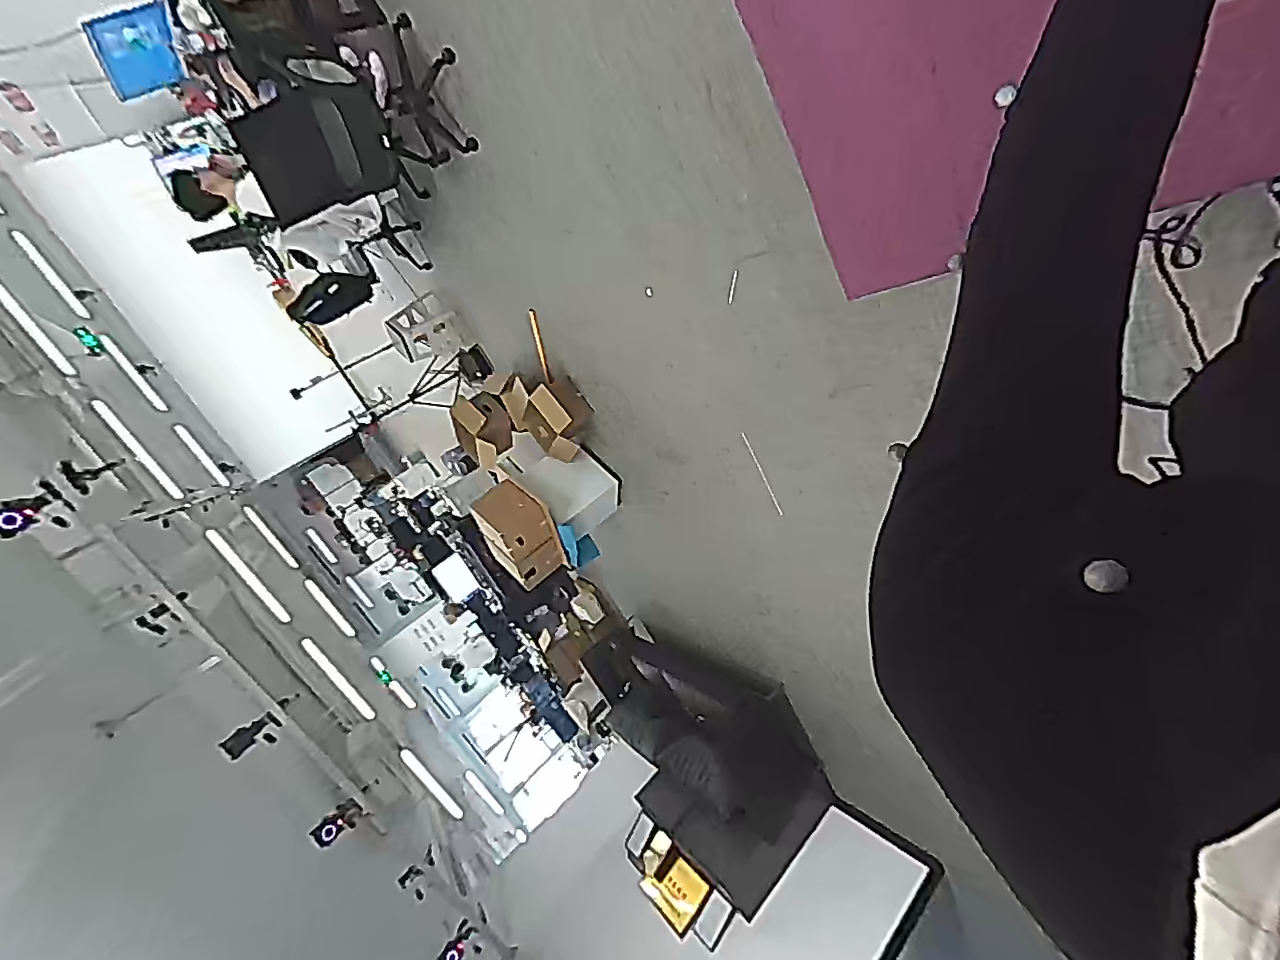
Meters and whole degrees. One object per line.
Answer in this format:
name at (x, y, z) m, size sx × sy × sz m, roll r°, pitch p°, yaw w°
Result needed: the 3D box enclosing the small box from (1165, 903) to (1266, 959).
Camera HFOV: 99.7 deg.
small box at (1.579, 1.330, 1.483) m, size 0.168 × 0.176 × 0.179 m, roll 9°, pitch 132°, yaw 54°
